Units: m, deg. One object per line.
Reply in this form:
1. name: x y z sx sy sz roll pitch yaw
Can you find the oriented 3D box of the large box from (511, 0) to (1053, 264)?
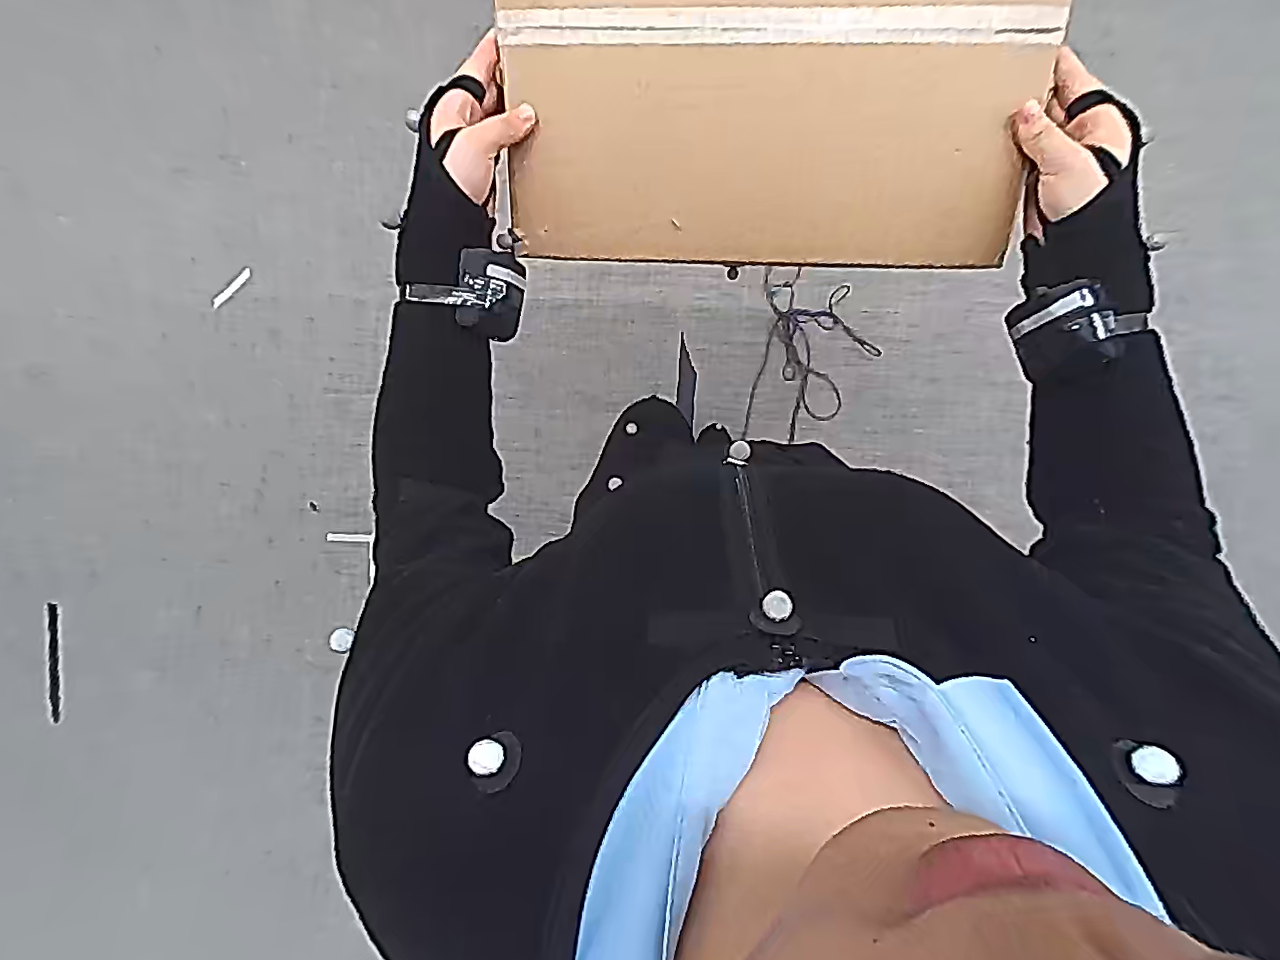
1. large box: 0.111 -0.389 0.546 0.408 0.320 0.320 2 111 3
